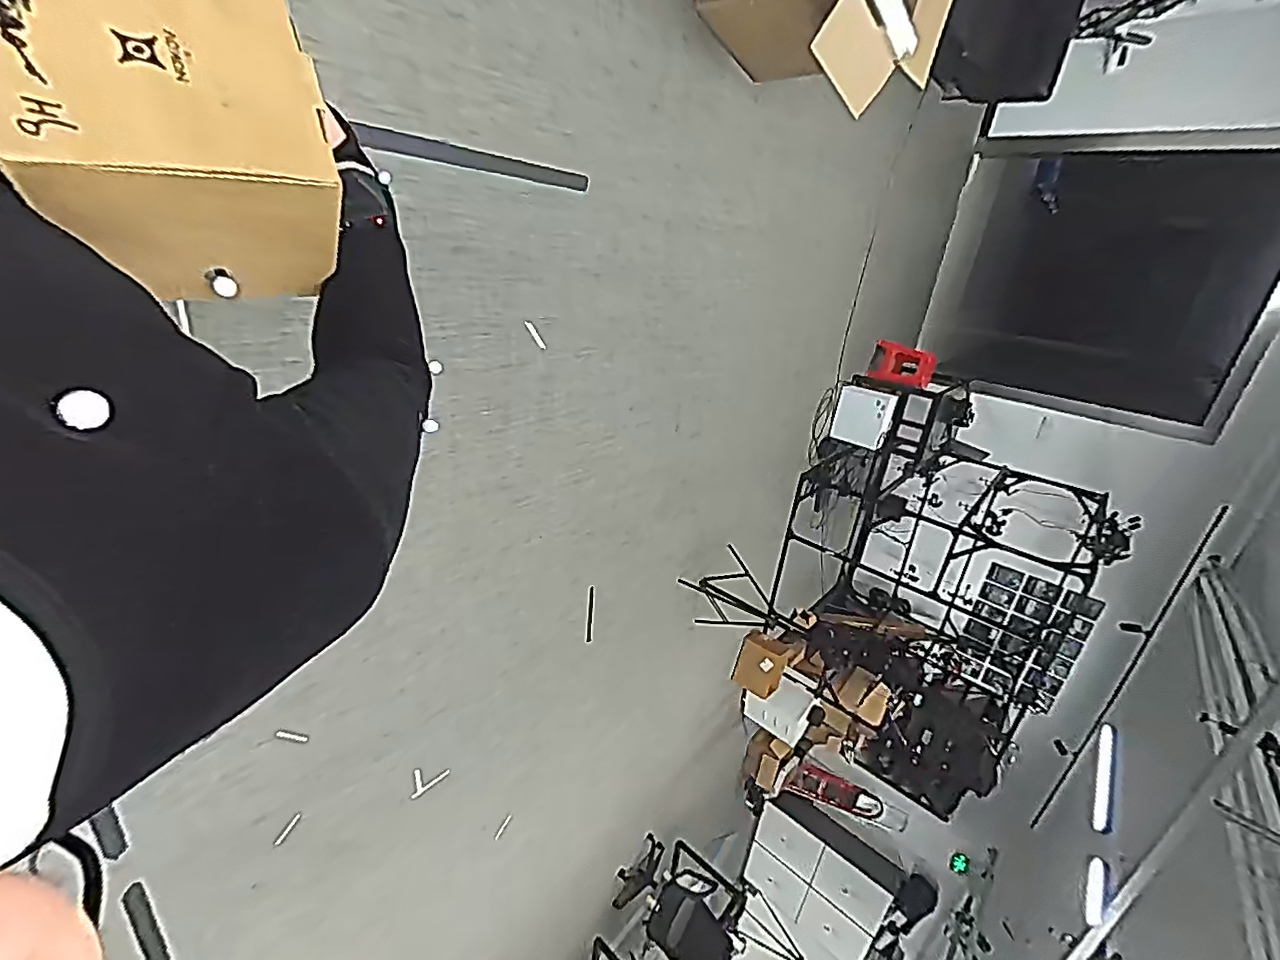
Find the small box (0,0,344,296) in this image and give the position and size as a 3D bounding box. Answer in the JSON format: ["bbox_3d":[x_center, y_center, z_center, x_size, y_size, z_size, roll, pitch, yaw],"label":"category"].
[{"bbox_3d":[-0.358,-0.261,0.430,0.179,0.176,0.168,-16,86,-34],"label":"small box"}]
